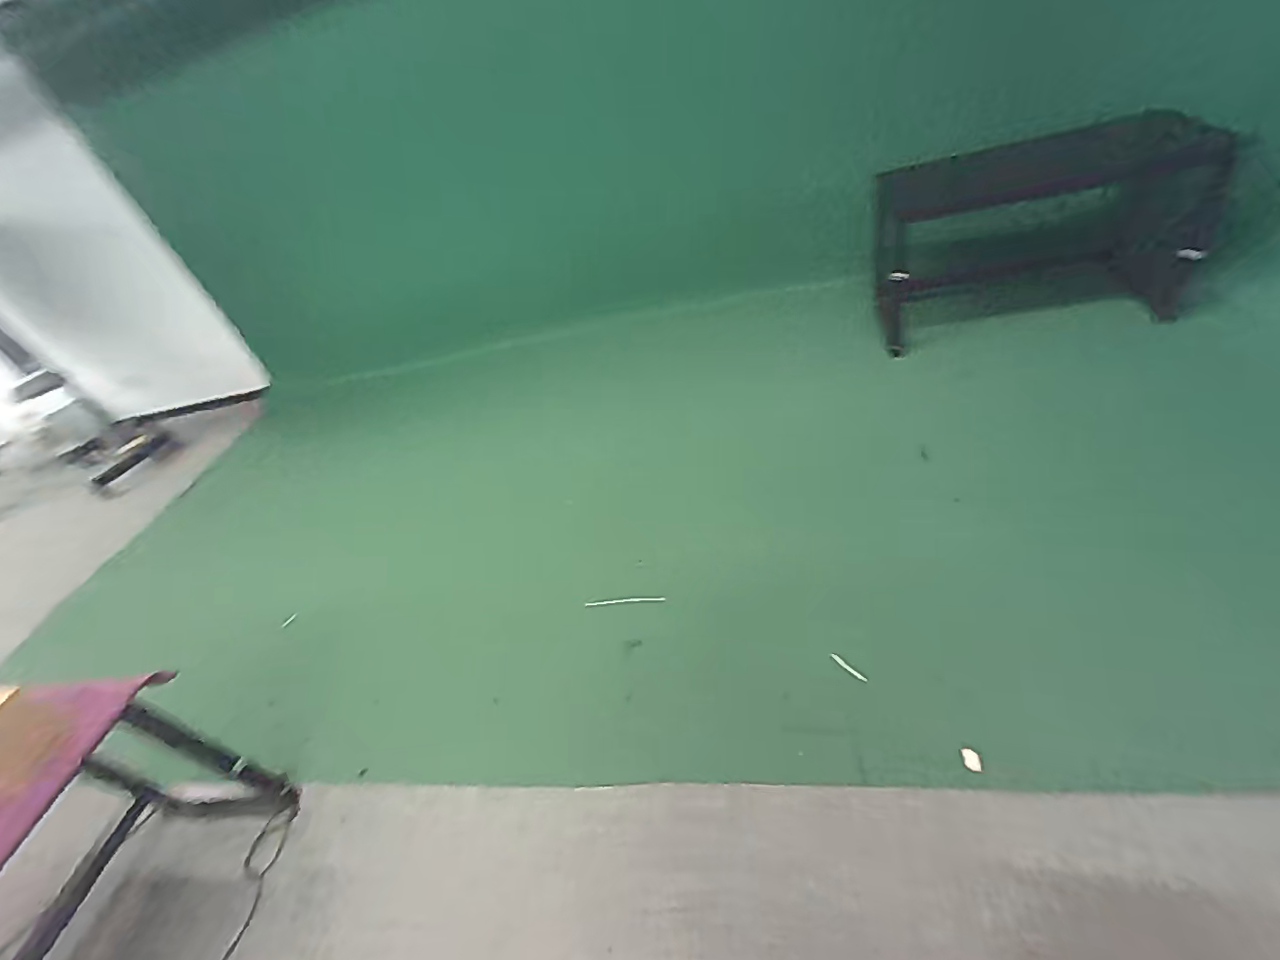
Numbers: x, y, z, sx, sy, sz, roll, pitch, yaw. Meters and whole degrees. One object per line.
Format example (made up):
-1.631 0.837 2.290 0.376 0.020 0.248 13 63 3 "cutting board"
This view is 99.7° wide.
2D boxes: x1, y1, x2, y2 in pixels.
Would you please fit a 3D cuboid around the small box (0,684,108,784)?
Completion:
-1.439 0.597 1.268 0.179 0.176 0.168 -7 43 15 "small box"
